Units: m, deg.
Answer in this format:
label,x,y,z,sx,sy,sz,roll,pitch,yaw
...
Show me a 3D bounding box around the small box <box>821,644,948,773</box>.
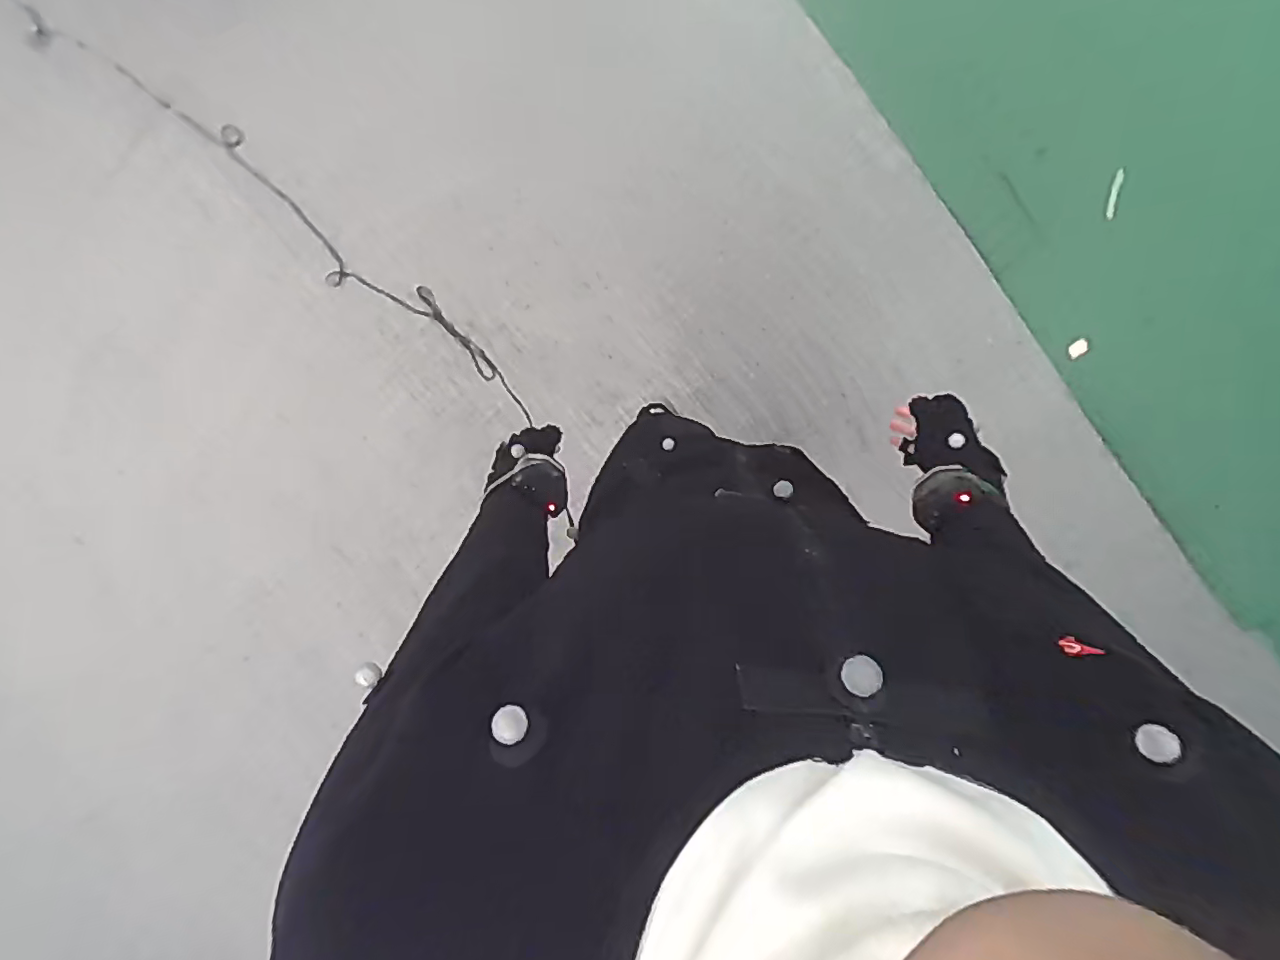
label,x,y,z,sx,sy,sz,roll,pitch,yaw
small box,0.547,0.510,1.232,0.168,0.176,0.179,-36,94,2
